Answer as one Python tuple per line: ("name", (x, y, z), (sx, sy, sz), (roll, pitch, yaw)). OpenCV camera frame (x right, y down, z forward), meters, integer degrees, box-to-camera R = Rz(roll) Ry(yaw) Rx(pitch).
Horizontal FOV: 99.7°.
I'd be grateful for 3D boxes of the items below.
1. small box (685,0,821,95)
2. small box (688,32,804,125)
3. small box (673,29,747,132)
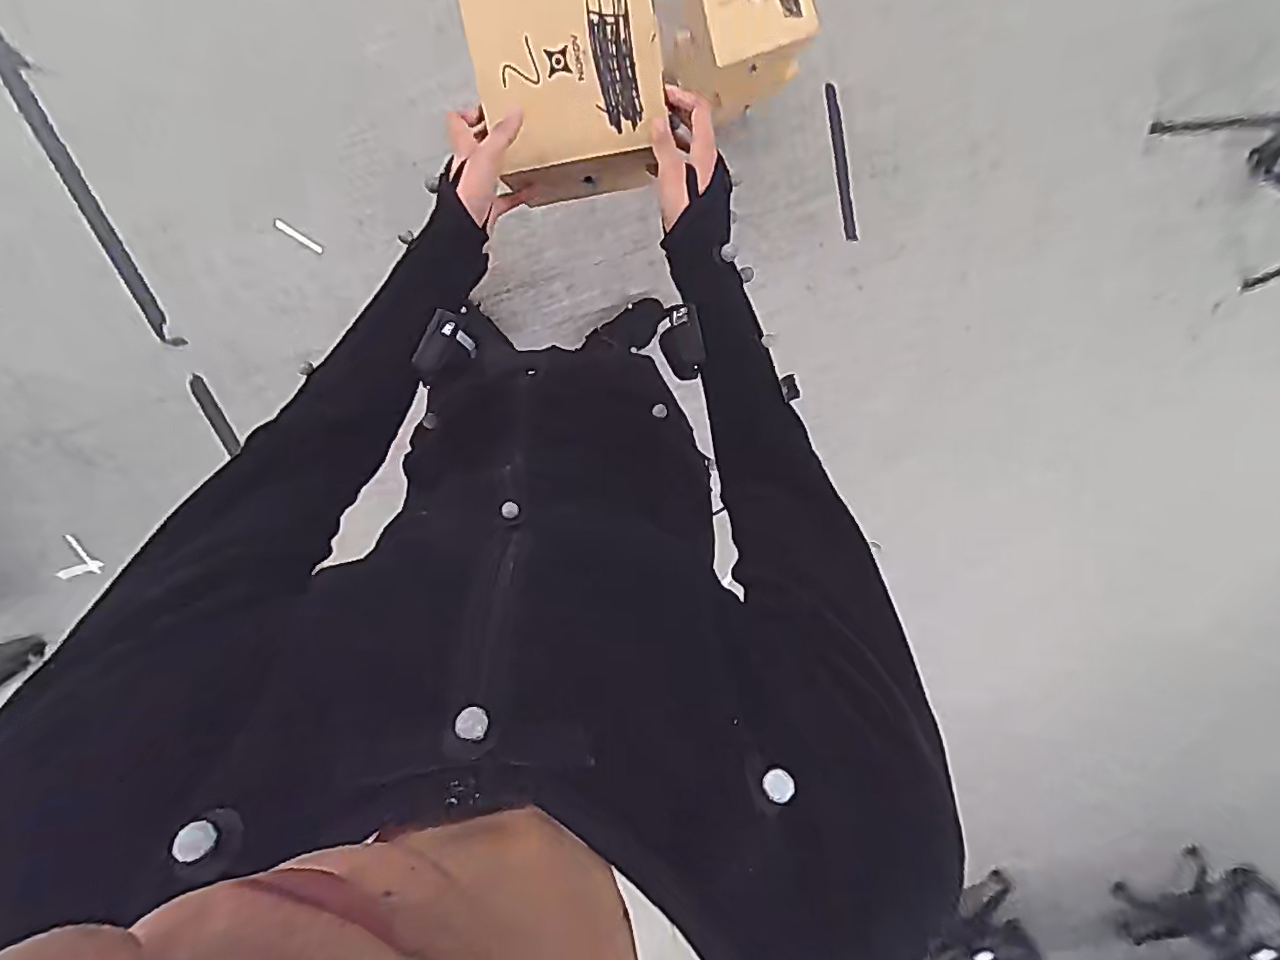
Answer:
("small box", (0.188, -0.802, 0.931), (0.179, 0.176, 0.168), (-16, 111, 4))
("small box", (0.205, -0.857, 1.087), (0.168, 0.176, 0.179), (-20, 112, 4))
("small box", (0.188, -0.929, 1.234), (0.179, 0.176, 0.168), (-19, 112, 4))
